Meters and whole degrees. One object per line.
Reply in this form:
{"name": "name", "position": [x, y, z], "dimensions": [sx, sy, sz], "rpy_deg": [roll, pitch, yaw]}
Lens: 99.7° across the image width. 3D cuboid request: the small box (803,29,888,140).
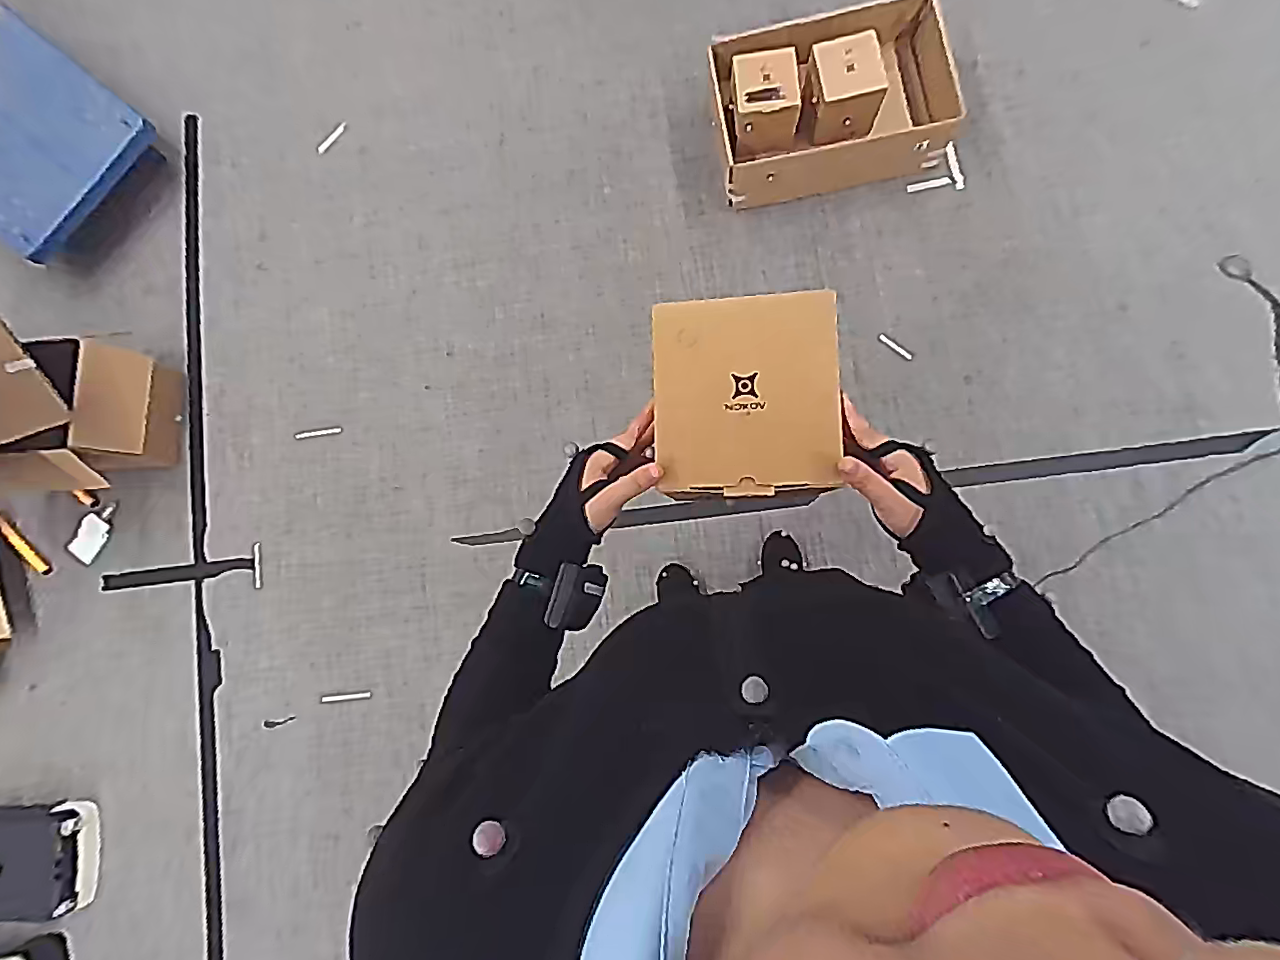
{"name": "small box", "position": [0.562, -1.080, 1.497], "dimensions": [0.168, 0.176, 0.179], "rpy_deg": [-10, 82, 5]}
